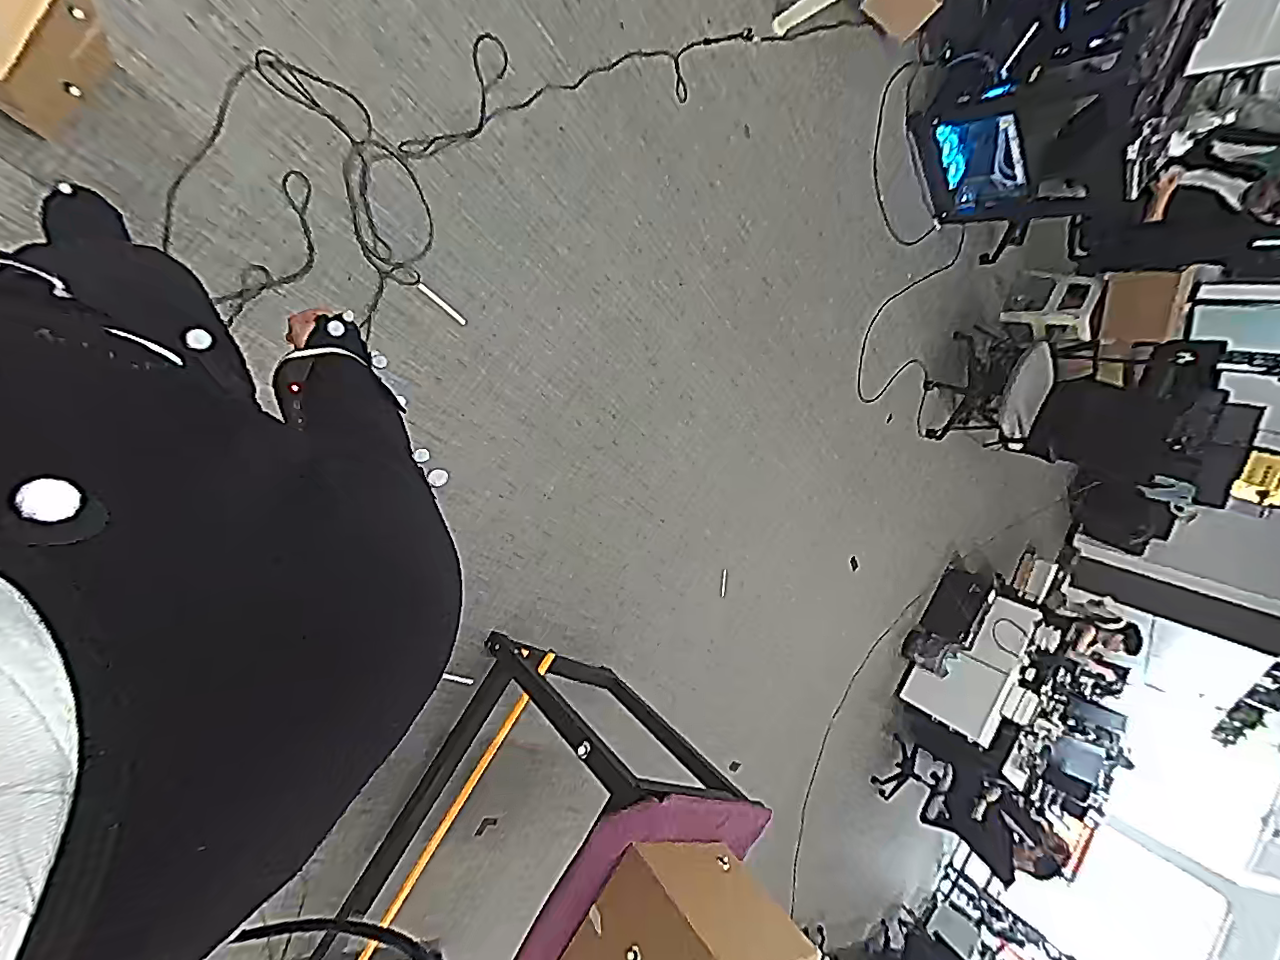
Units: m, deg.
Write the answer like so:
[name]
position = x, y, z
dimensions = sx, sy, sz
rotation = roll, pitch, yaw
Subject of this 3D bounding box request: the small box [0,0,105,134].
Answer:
[small box]
position = -0.911, -0.635, 0.767
dimensions = 0.168, 0.176, 0.179
rotation = 37, 81, -42
